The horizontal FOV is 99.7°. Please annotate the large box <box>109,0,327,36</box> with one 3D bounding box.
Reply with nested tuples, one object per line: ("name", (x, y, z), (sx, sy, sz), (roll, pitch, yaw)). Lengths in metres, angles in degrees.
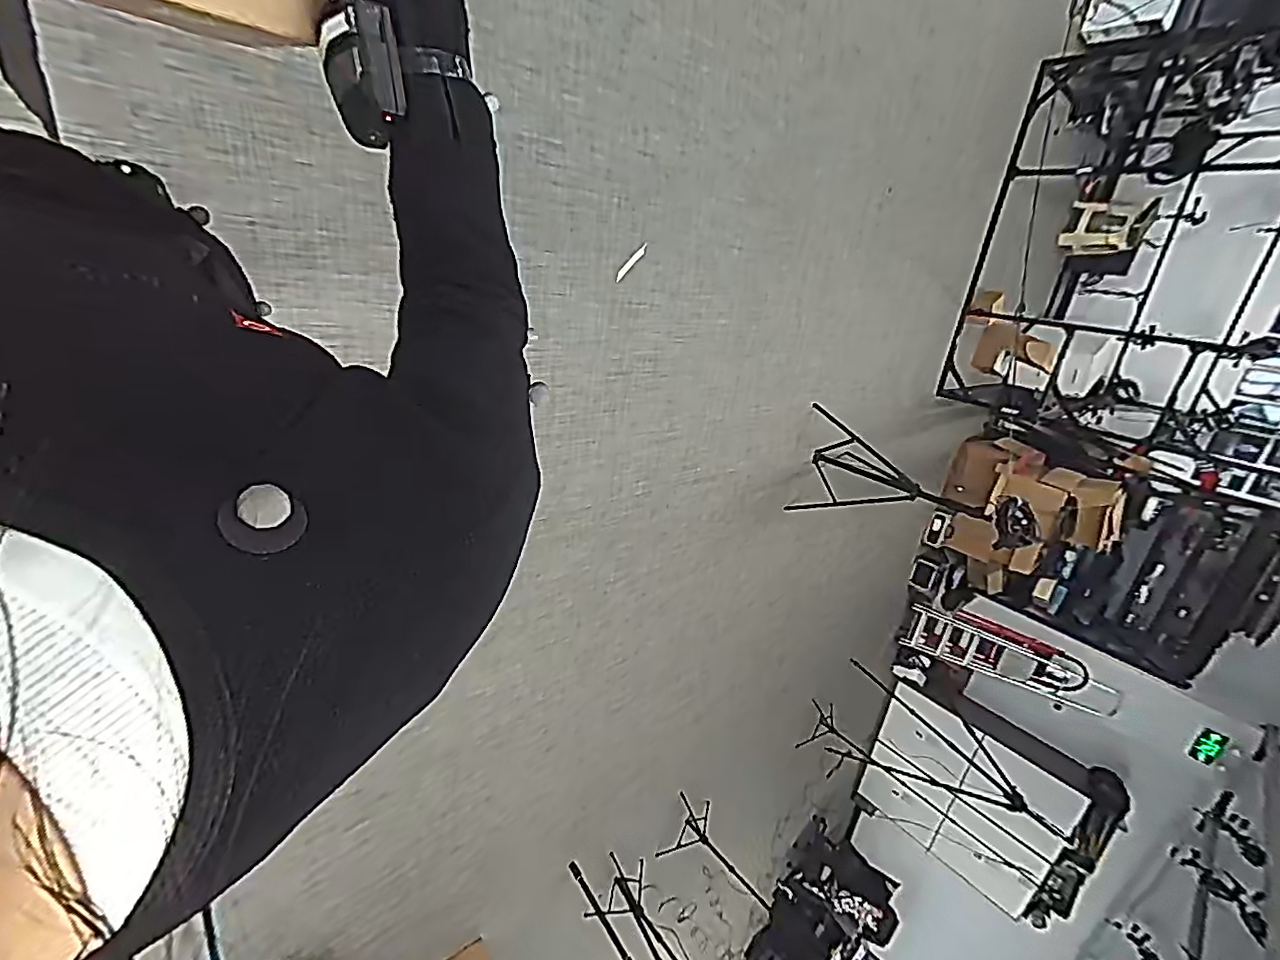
("large box", (-0.417, -0.459, 0.248), (0.408, 0.320, 0.320), (-12, 129, -39))
